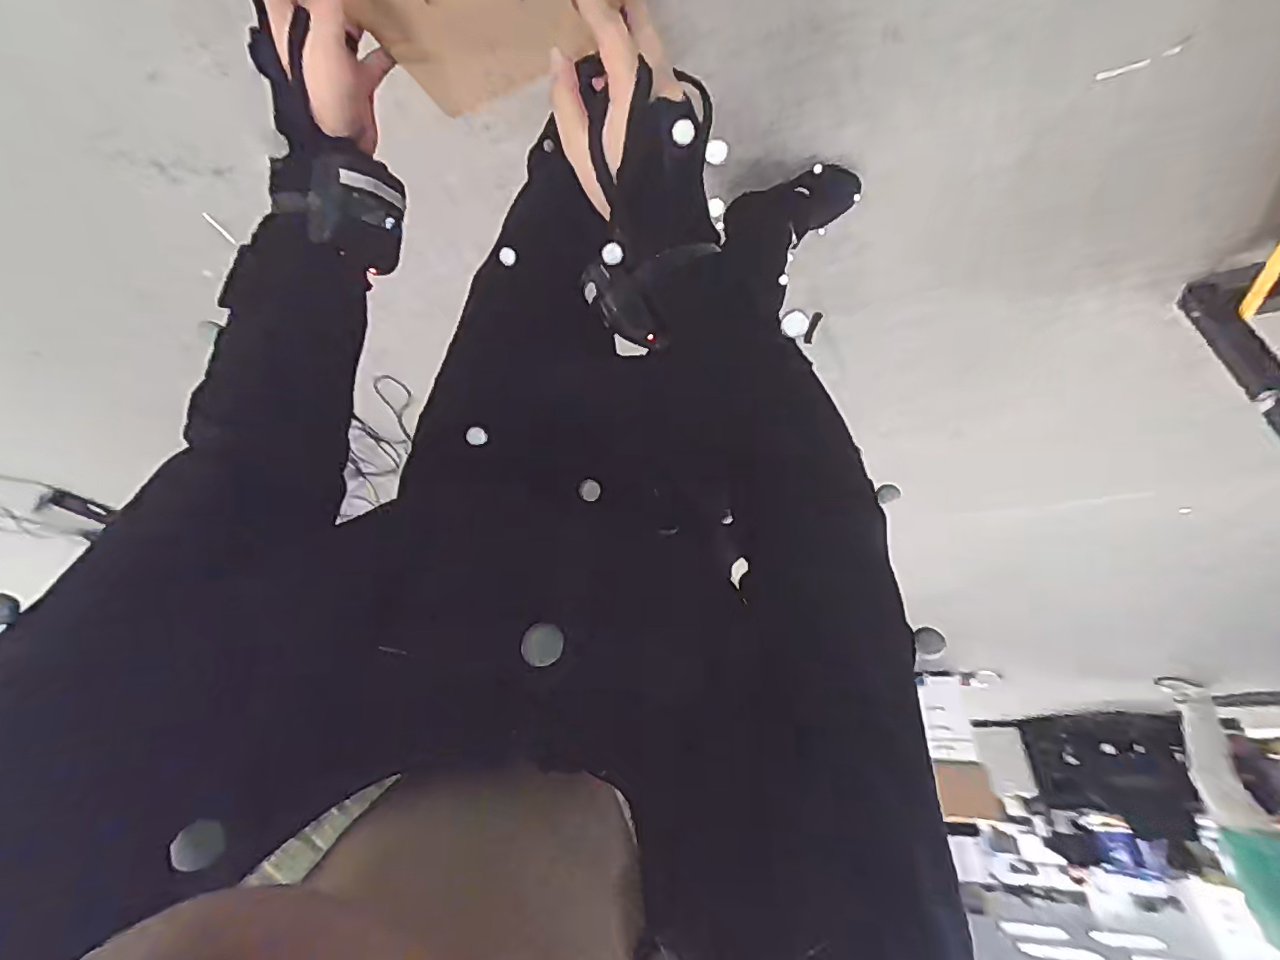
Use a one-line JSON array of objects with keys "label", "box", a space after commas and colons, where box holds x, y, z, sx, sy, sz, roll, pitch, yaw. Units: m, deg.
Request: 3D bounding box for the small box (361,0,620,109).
[{"label": "small box", "box": [-0.094, -0.379, 0.328, 0.179, 0.176, 0.168, 16, 171, 39]}]
